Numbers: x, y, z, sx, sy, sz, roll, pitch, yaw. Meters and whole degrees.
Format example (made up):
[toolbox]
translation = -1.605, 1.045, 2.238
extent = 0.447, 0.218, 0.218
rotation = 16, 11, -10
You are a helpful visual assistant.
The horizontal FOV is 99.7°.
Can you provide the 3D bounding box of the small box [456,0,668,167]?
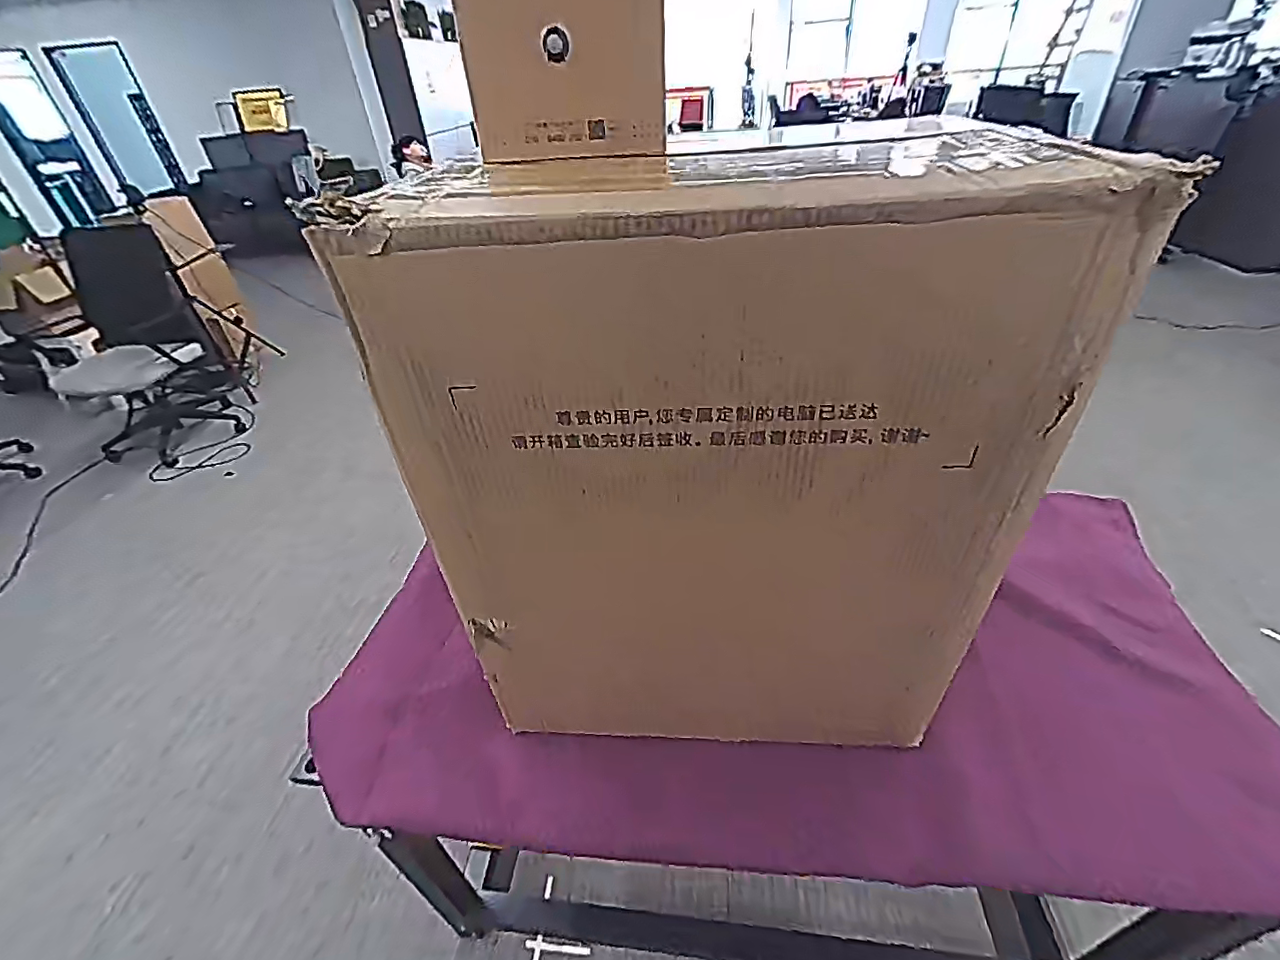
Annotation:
[small box]
translation = -0.061, -0.393, 0.499
extent = 0.168, 0.176, 0.179
rotation = -3, 37, 0
